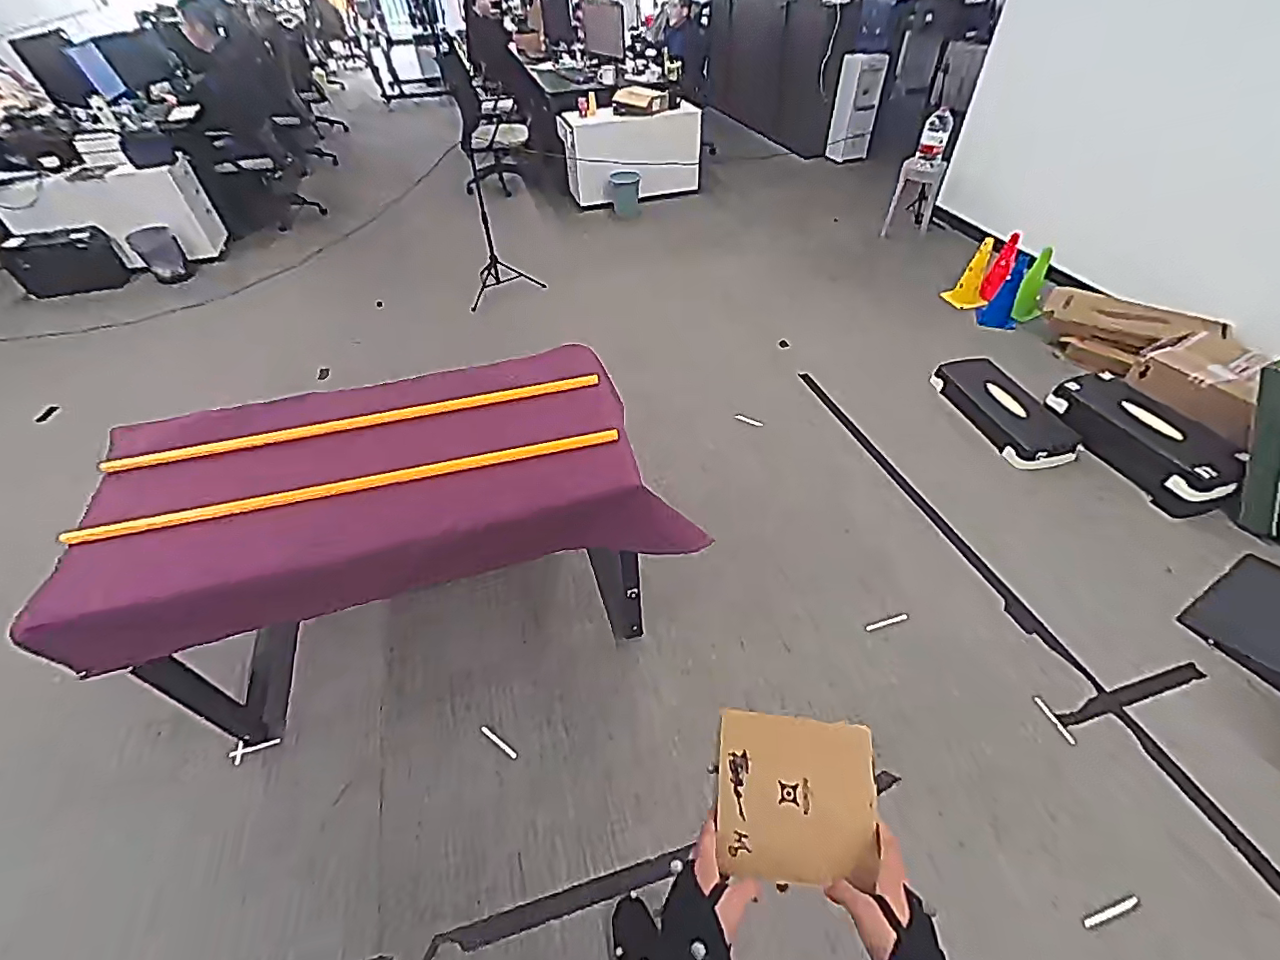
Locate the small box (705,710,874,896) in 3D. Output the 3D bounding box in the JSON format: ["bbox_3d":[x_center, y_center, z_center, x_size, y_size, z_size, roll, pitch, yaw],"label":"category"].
[{"bbox_3d":[0.178,0.400,0.686,0.179,0.176,0.168,4,60,8],"label":"small box"}]
